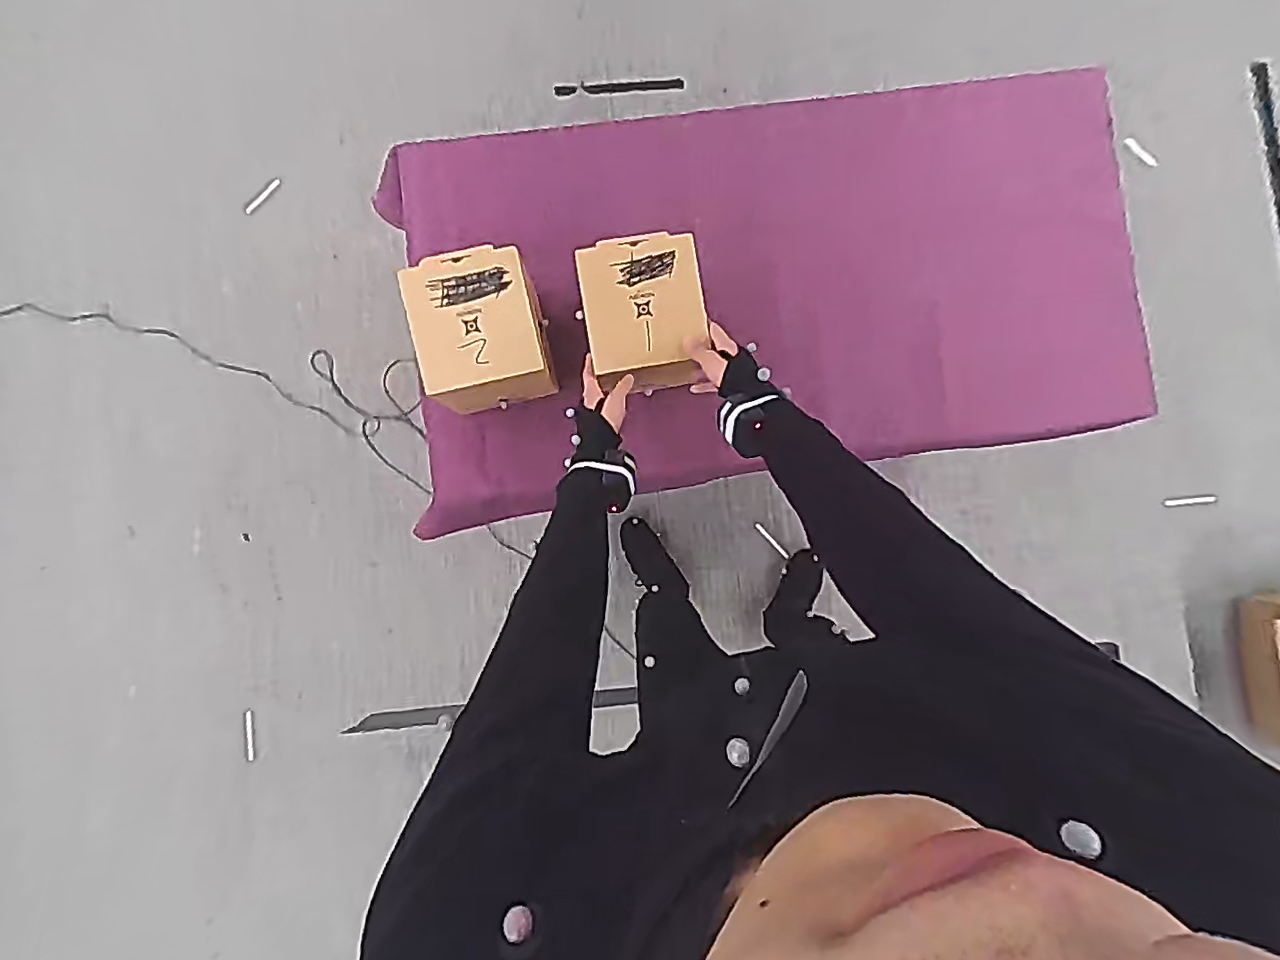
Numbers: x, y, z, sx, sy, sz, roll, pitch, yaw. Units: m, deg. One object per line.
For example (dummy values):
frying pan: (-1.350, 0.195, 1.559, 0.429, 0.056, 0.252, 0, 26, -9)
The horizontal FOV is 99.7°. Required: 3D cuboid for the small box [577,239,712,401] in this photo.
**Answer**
small box: (0.004, -0.229, 0.811, 0.168, 0.176, 0.179, -10, 88, -1)
